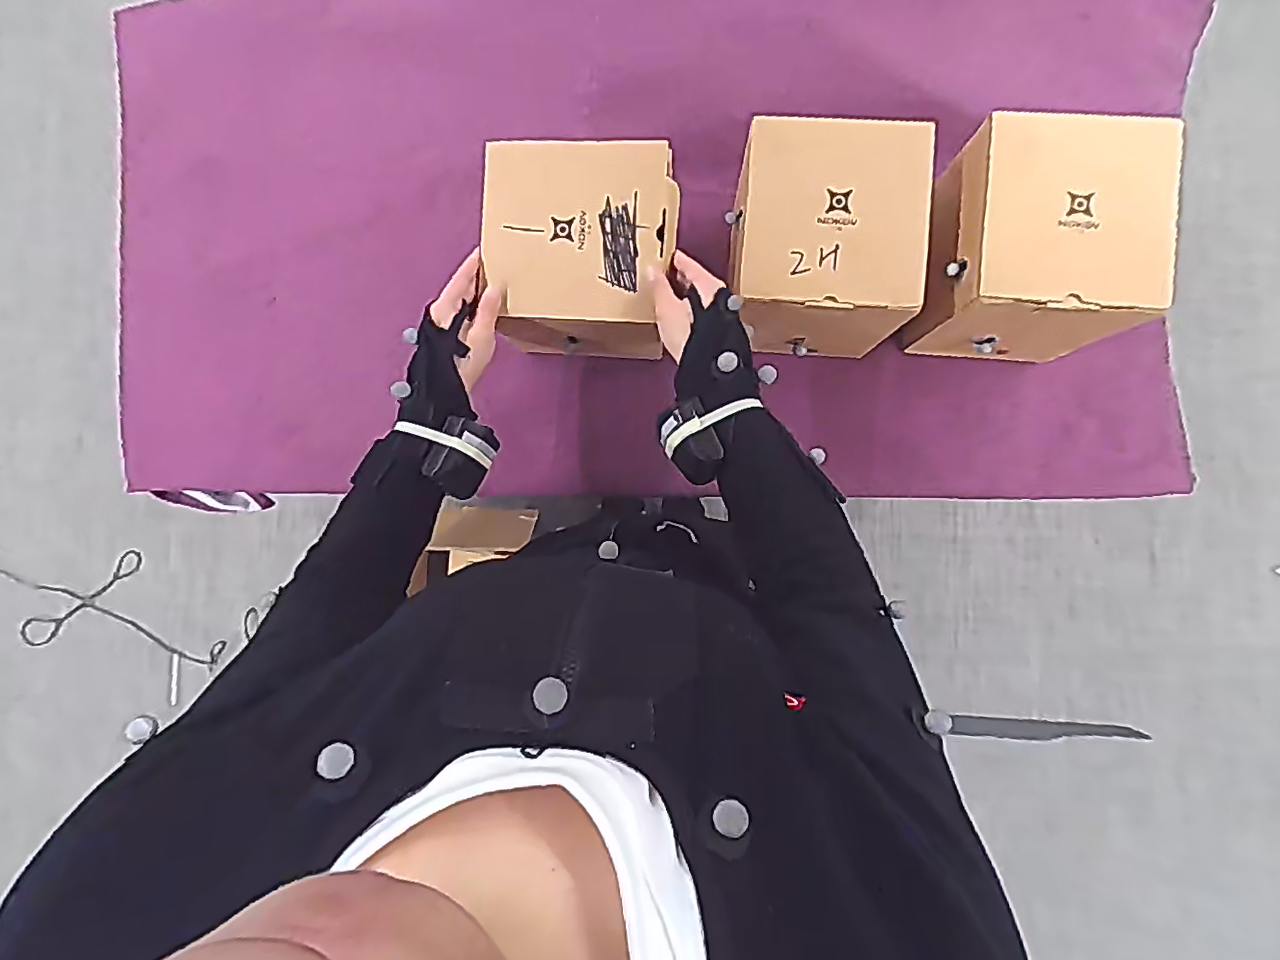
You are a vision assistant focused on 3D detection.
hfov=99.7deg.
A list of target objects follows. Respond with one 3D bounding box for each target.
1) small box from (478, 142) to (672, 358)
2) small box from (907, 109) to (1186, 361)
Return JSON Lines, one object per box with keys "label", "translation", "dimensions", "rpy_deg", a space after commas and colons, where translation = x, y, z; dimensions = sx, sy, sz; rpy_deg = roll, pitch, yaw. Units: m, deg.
{"label": "small box", "translation": [-0.057, -0.231, 0.584], "dimensions": [0.179, 0.176, 0.168], "rpy_deg": [4, 92, 4]}
{"label": "small box", "translation": [0.395, -0.236, 0.556], "dimensions": [0.168, 0.176, 0.179], "rpy_deg": [5, 88, 4]}
